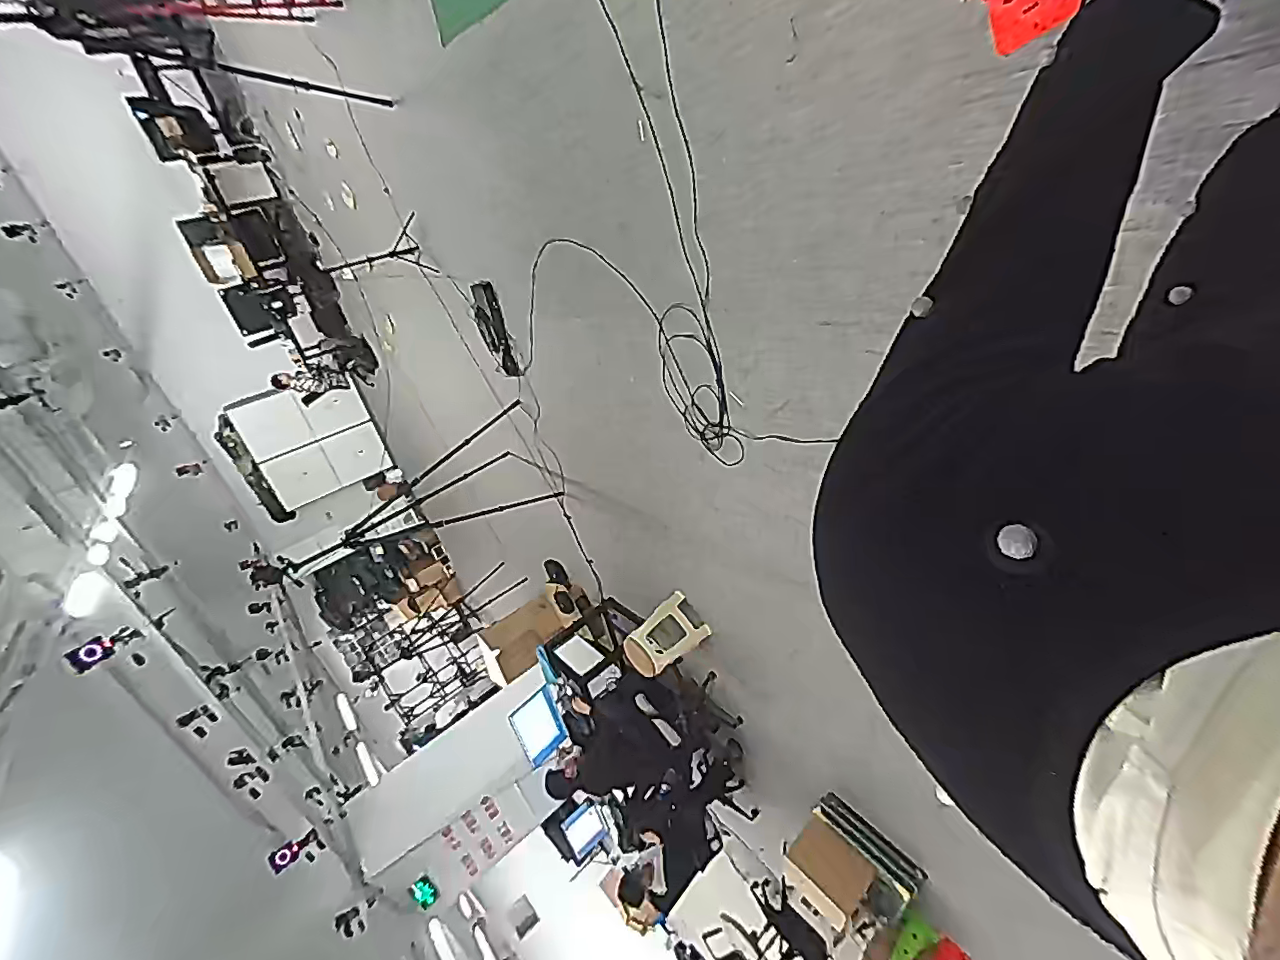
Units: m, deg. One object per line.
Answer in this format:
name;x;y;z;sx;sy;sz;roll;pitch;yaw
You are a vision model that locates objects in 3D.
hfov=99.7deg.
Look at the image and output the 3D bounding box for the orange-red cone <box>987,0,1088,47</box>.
orange-red cone;0.670;-0.943;0.998;0.199;0.360;0.198;3;119;58
